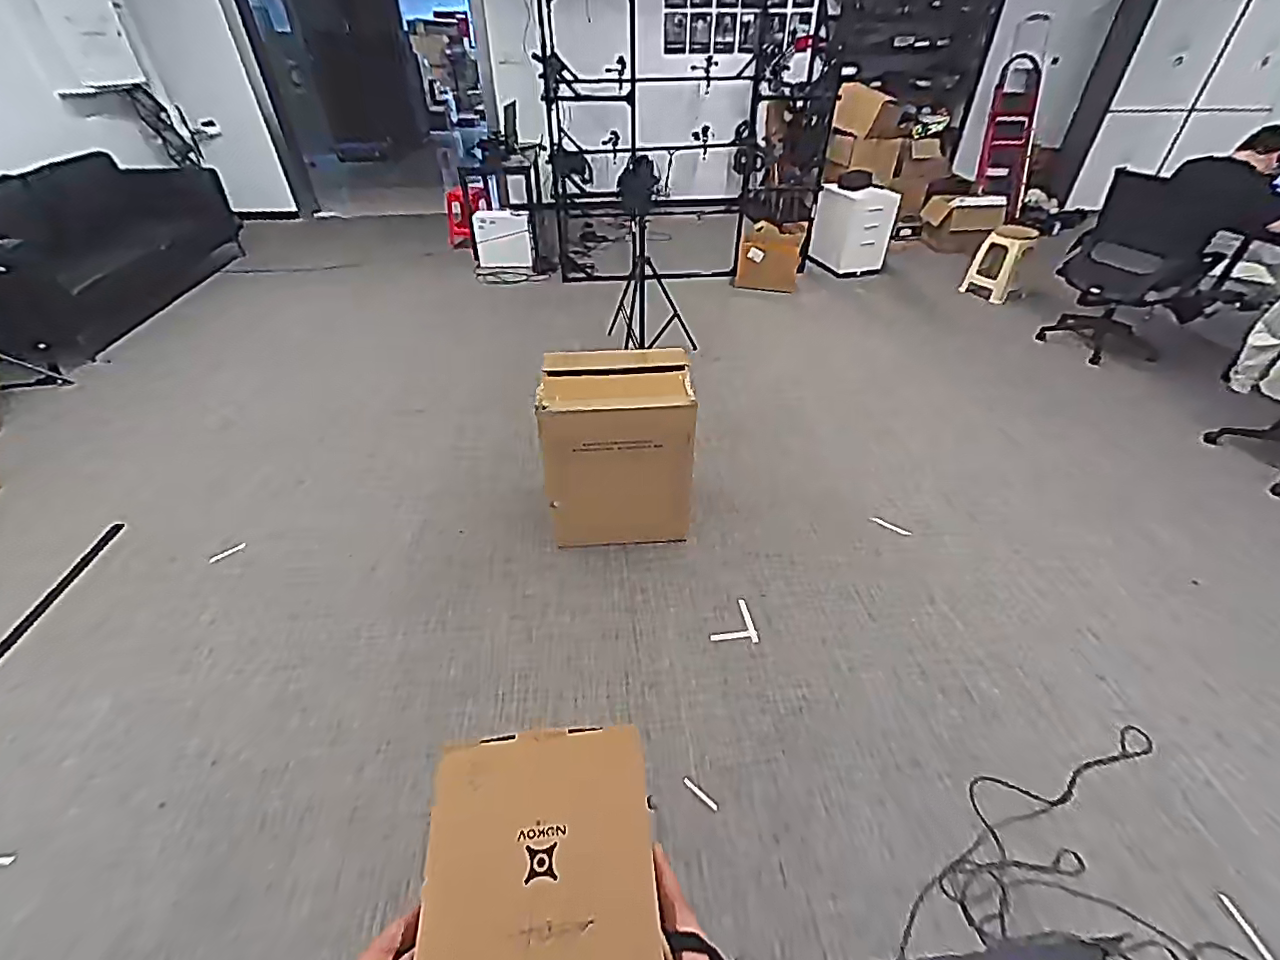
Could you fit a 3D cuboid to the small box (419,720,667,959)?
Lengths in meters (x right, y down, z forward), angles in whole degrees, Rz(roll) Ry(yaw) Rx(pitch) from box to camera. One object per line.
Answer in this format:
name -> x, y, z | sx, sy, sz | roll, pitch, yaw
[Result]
small box -> -0.072, 0.330, 0.457 | 0.168, 0.176, 0.179 | -4, 46, -5
